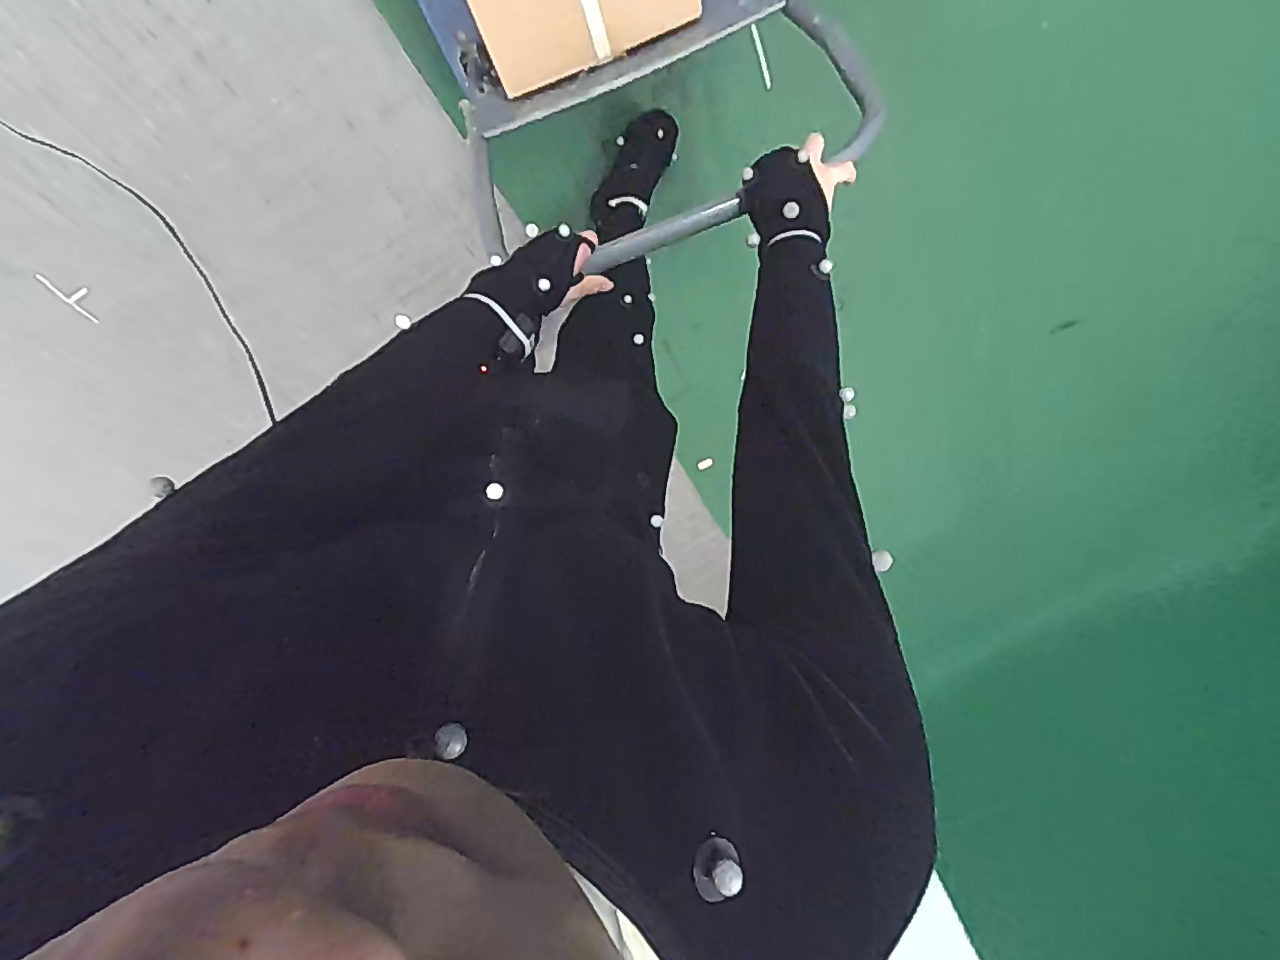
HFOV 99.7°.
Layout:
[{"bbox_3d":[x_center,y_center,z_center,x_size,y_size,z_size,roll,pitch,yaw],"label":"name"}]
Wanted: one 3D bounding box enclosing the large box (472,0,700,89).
[{"bbox_3d":[-0.134,-0.874,0.760,0.320,0.320,0.408,-19,140,7],"label":"large box"}]
